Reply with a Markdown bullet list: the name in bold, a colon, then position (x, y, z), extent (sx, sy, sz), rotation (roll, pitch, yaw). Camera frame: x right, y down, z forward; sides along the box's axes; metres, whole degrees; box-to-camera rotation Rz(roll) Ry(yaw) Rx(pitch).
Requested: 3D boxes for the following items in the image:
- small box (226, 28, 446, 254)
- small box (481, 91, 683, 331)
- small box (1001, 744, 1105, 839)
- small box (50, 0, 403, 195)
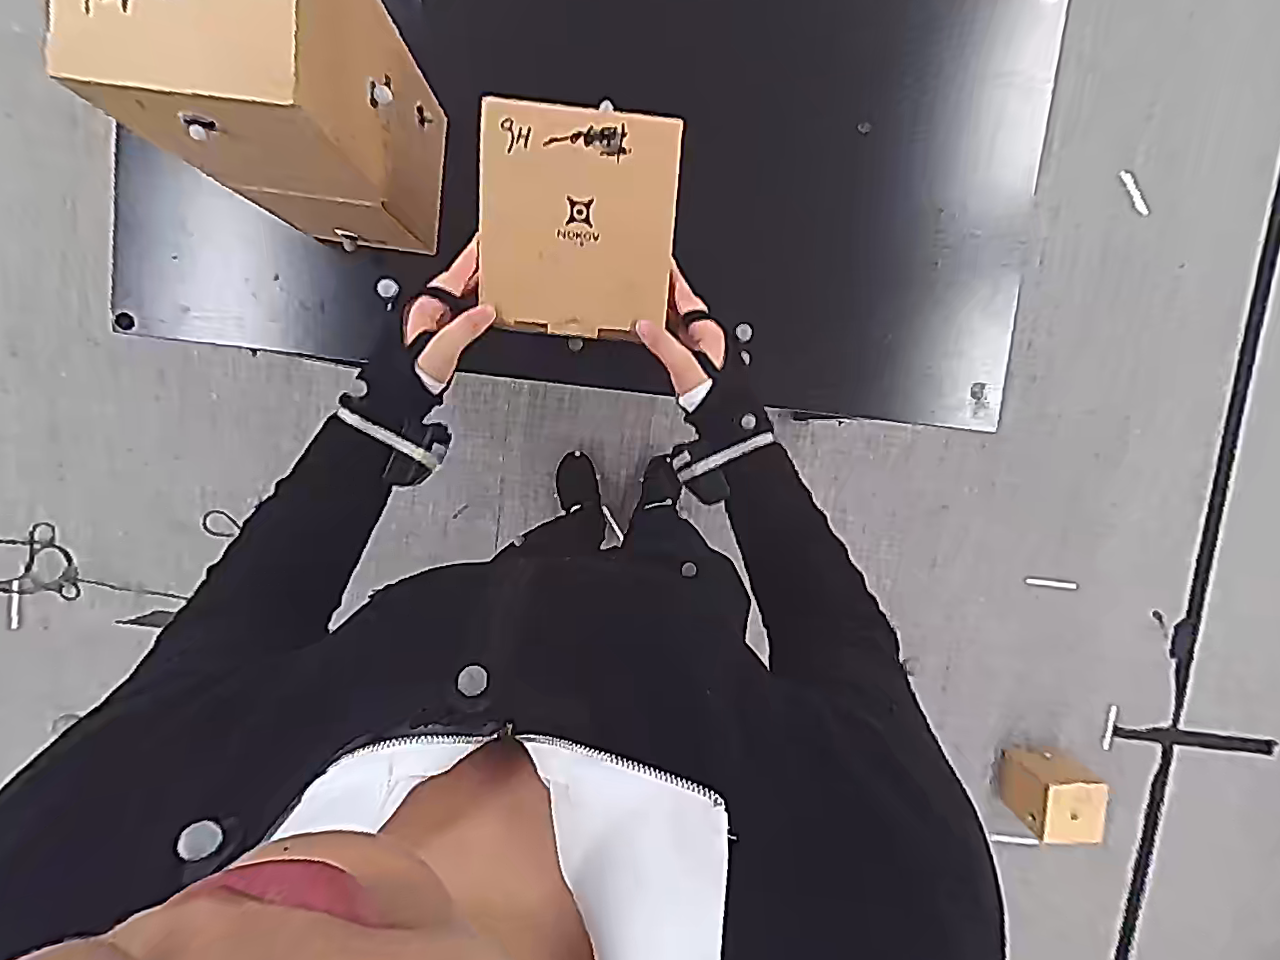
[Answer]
- **small box**: position (-0.335, -0.386, 0.626), extent (0.168, 0.176, 0.179), rotation (6, 96, -2)
- **small box**: position (-0.056, -0.245, 0.539), extent (0.168, 0.176, 0.179), rotation (4, 104, -5)
- **small box**: position (1.169, 0.884, 1.544), extent (0.168, 0.176, 0.179), rotation (0, 96, -2)
- **small box**: position (-0.329, -0.368, 0.462), extent (0.179, 0.176, 0.168), rotation (5, 95, -3)
